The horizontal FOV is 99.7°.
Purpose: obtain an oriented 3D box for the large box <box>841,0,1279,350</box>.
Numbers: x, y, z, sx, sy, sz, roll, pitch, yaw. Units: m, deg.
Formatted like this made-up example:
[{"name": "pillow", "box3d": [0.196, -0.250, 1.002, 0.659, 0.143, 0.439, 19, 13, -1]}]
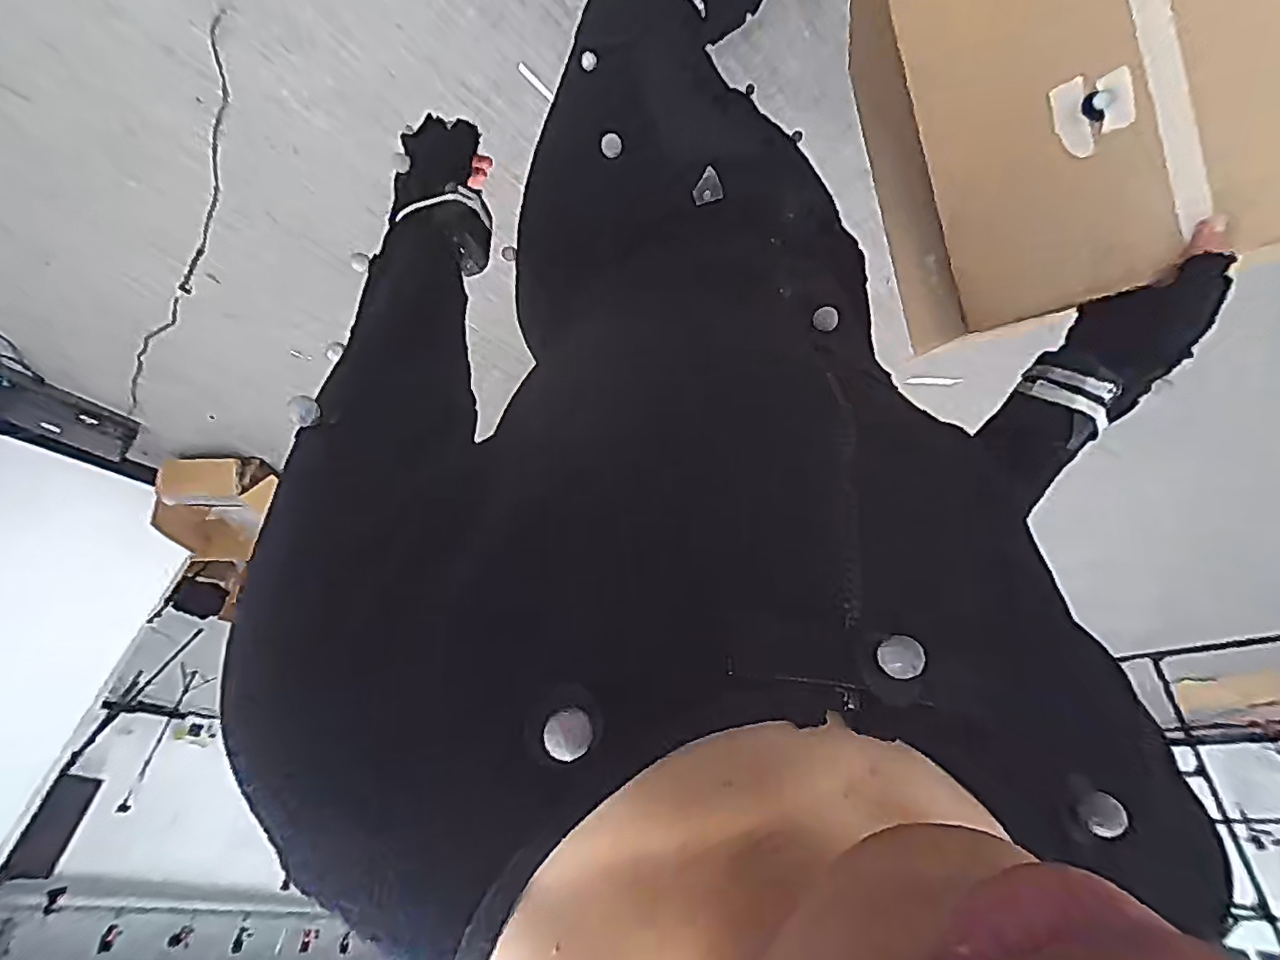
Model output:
[{"name": "large box", "box3d": [0.411, -0.378, 0.540, 0.320, 0.408, 0.320, -14, -176, 22]}]
